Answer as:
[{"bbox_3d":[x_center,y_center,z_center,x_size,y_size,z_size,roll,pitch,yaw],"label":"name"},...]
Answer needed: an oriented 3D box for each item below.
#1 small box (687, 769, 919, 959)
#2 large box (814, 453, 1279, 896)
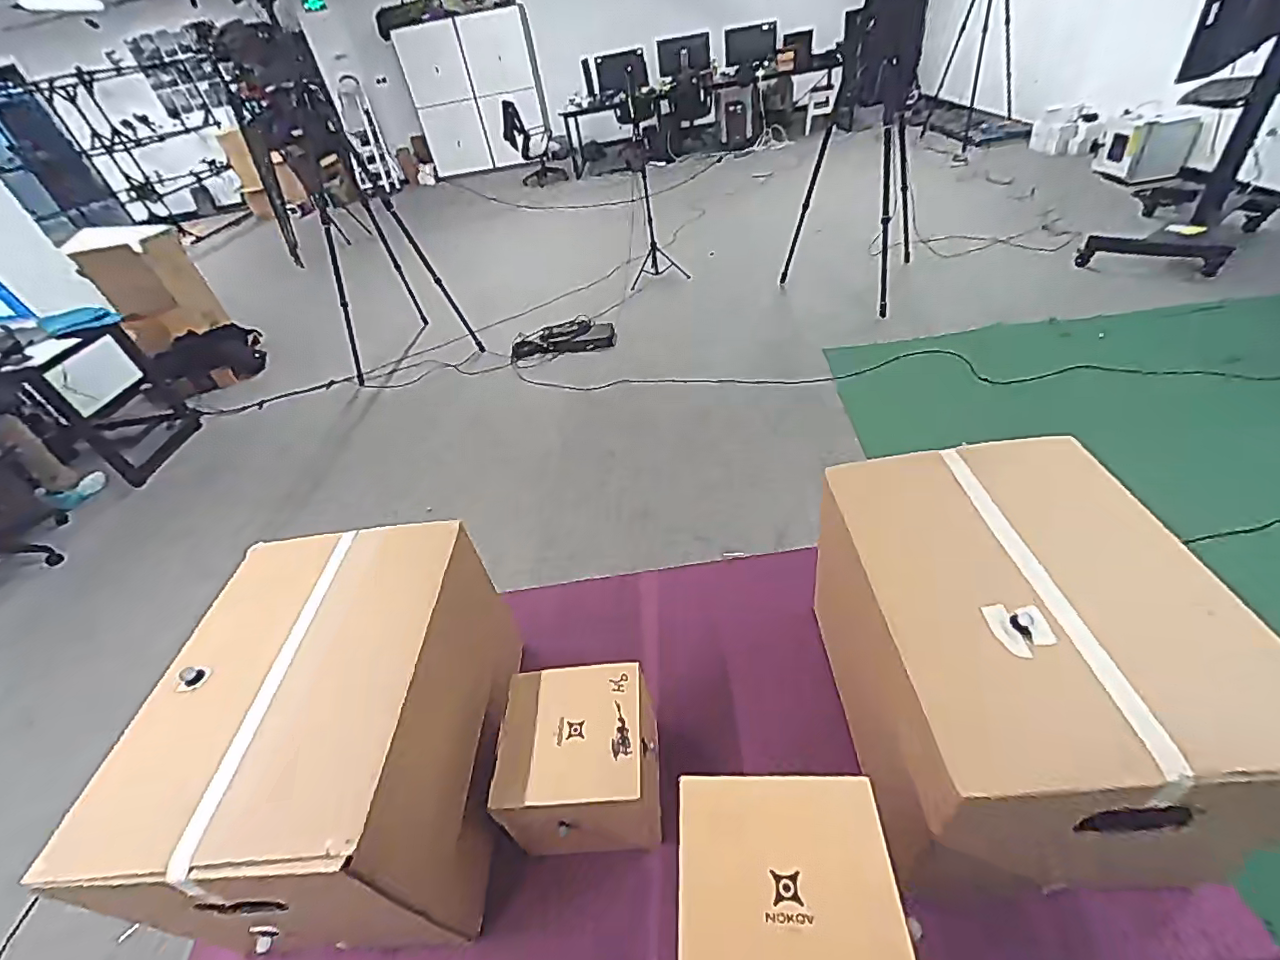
[{"bbox_3d":[0.126,0.380,0.468,0.168,0.176,0.179,-3,37,7],"label":"small box"},{"bbox_3d":[0.425,0.219,0.657,0.320,0.320,0.408,-7,41,6],"label":"large box"}]
